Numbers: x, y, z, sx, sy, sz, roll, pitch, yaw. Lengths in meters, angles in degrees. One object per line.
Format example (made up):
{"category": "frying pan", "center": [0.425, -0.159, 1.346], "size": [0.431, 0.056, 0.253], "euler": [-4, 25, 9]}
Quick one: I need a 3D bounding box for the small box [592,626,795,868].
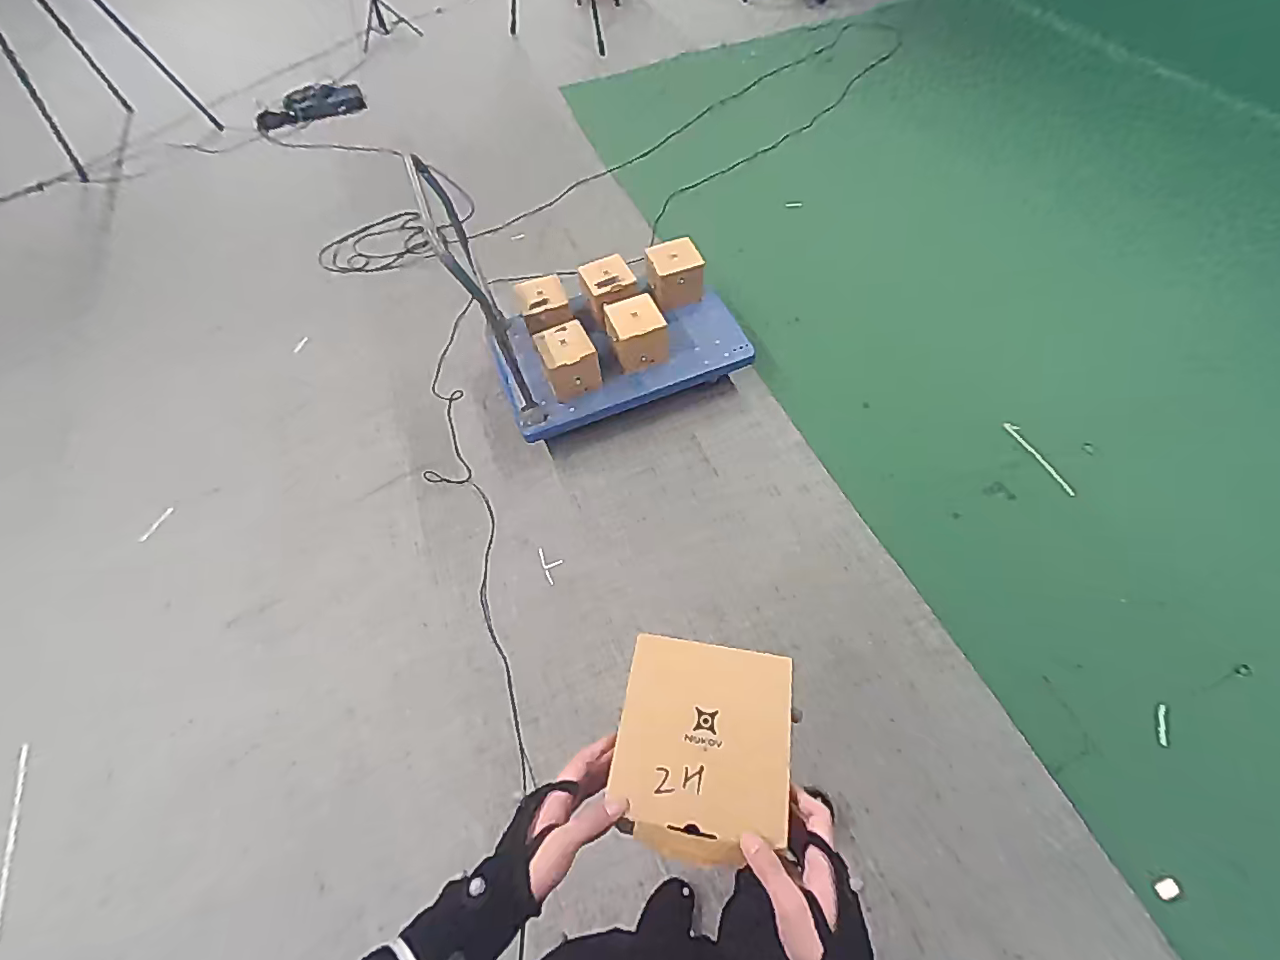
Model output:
{"category": "small box", "center": [0.063, 0.290, 0.586], "size": [0.168, 0.176, 0.179], "euler": [11, 54, 15]}

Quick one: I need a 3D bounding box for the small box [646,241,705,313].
{"category": "small box", "center": [0.132, -0.750, 2.008], "size": [0.179, 0.176, 0.168], "euler": [-18, 60, -6]}

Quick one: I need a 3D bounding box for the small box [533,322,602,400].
{"category": "small box", "center": [-0.238, -0.391, 1.813], "size": [0.168, 0.176, 0.179], "euler": [-22, 60, -9]}

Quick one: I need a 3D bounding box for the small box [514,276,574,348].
{"category": "small box", "center": [-0.336, -0.595, 1.946], "size": [0.168, 0.176, 0.179], "euler": [-18, 58, -7]}
